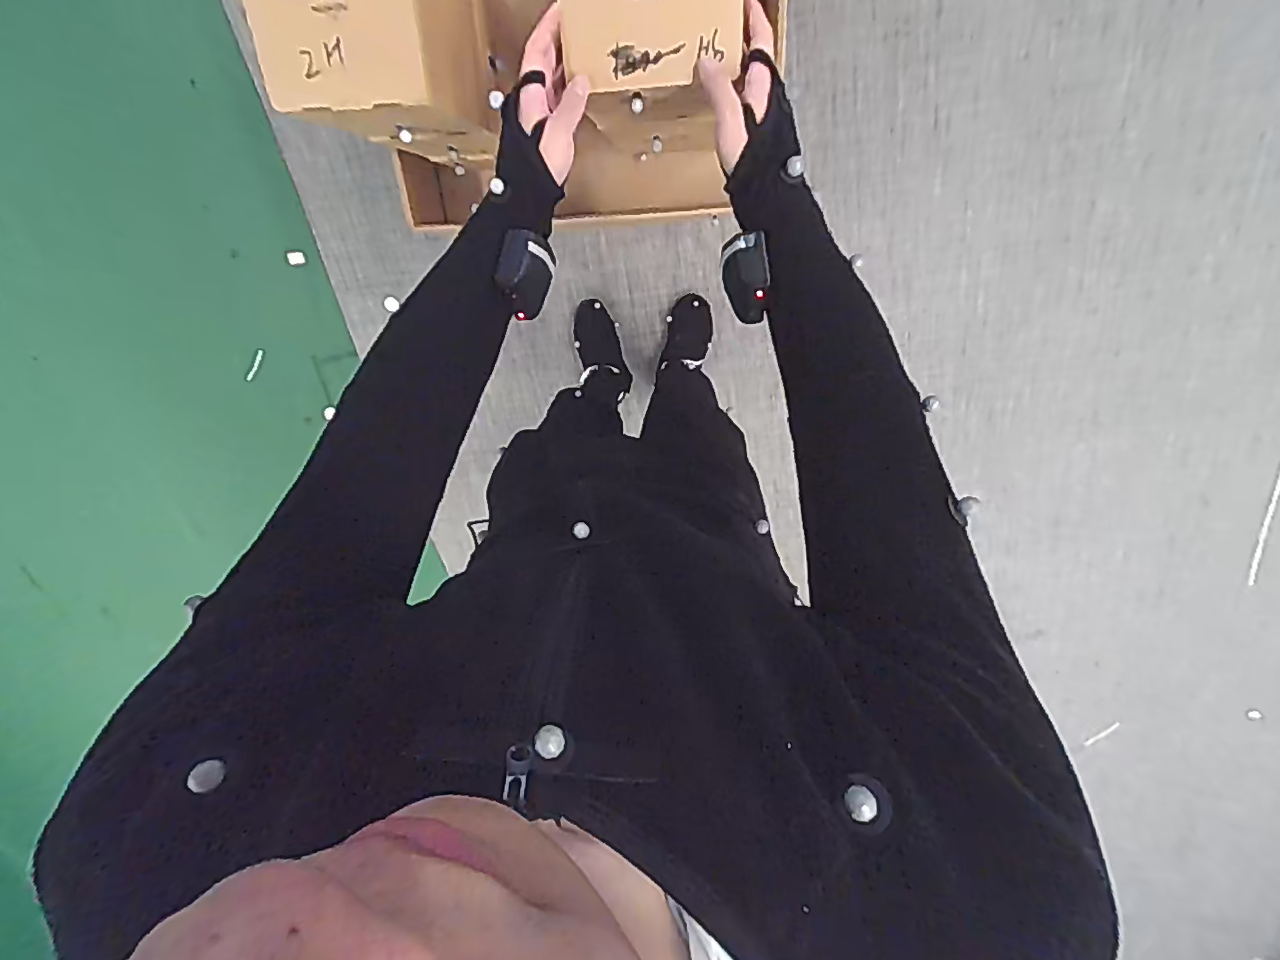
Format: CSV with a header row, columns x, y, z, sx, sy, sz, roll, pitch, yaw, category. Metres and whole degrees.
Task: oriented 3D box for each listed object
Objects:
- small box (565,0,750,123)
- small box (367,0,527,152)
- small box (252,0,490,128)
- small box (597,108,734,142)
x,y,z,sx,sy,sz,roll,pitch,yaw,category
0.021,-0.476,0.536,0.168,0.176,0.179,0,115,7,small box
-0.257,-0.548,0.714,0.168,0.176,0.179,1,116,6,small box
-0.272,-0.483,0.564,0.168,0.176,0.179,1,117,6,small box
0.035,-0.544,0.684,0.168,0.176,0.179,1,116,6,small box
